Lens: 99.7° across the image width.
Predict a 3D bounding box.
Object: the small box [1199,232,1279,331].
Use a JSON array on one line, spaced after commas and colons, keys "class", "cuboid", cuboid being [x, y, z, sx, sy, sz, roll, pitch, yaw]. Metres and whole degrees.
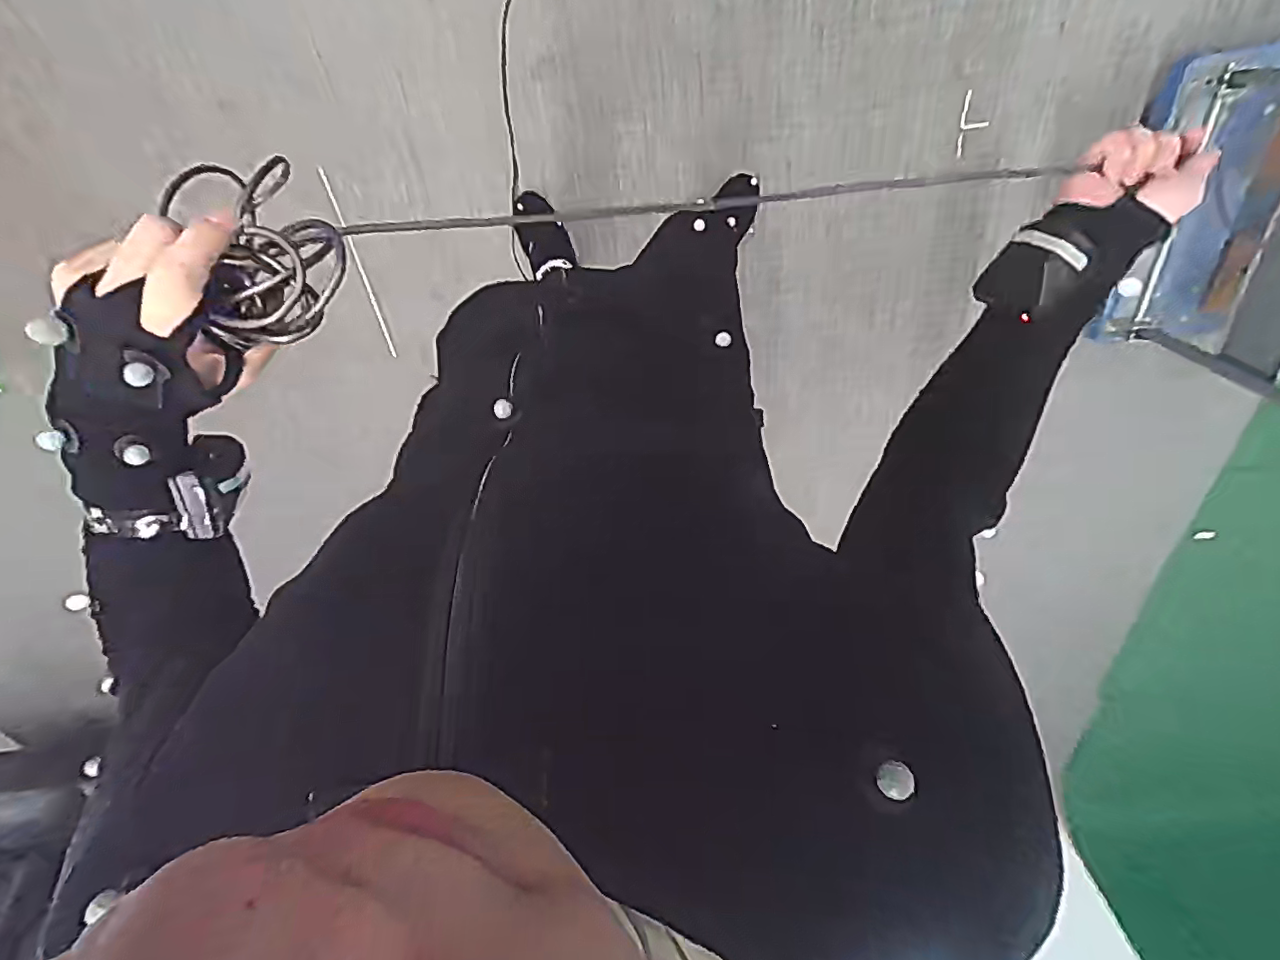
[{"class": "small box", "cuboid": [1.397, -0.435, 1.165, 0.179, 0.176, 0.168, -4, 123, 6]}]
